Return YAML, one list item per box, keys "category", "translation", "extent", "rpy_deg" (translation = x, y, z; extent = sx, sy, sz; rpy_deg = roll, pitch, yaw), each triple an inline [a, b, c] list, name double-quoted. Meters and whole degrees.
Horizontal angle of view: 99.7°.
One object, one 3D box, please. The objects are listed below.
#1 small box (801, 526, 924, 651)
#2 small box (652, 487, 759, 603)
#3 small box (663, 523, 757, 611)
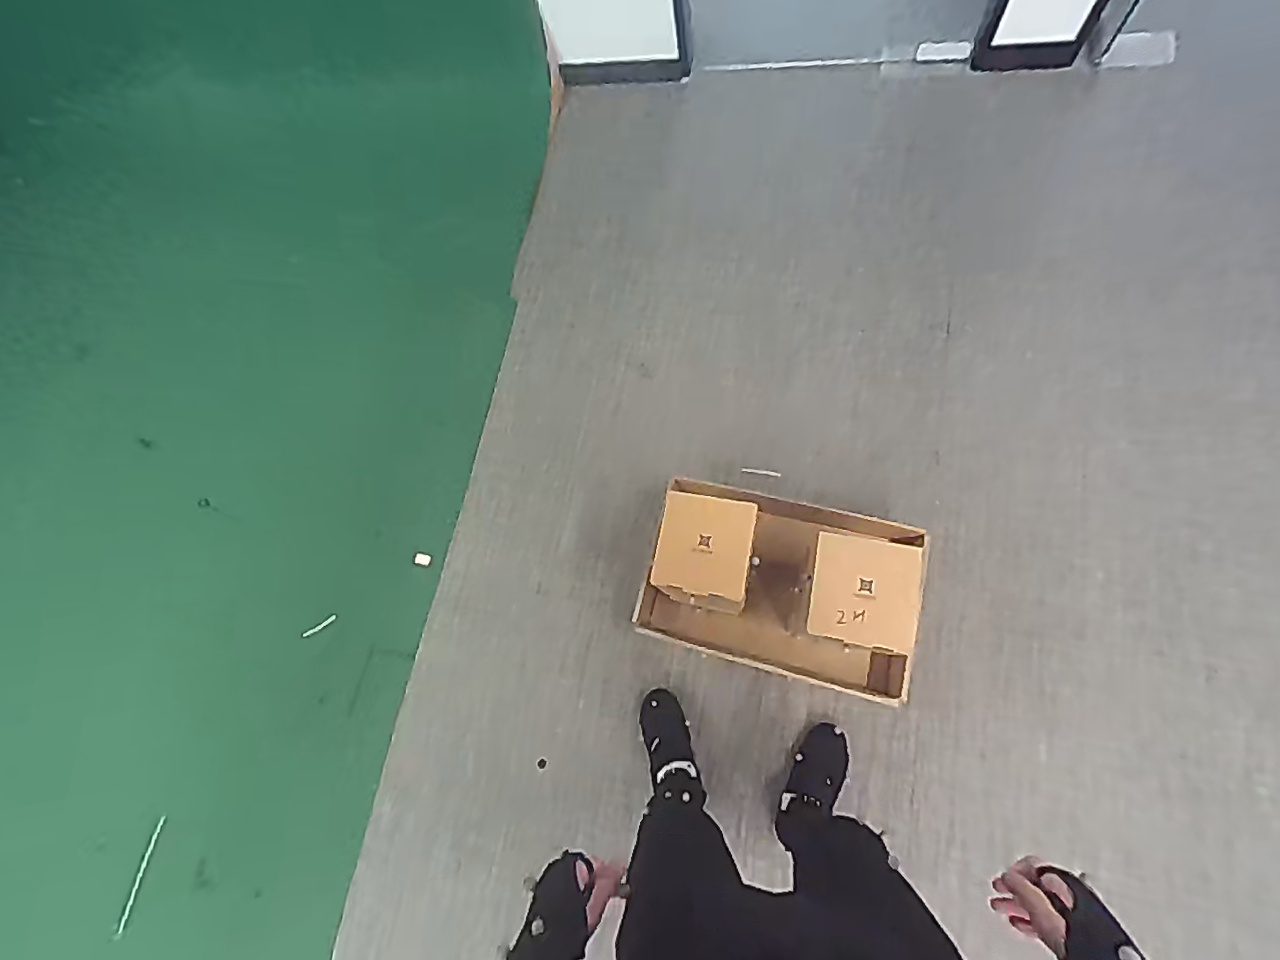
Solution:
- category: "small box"
  translation: [0.382, 0.195, 0.954]
  extent: [0.168, 0.176, 0.179]
  rpy_deg: [9, 76, 15]
- category: "small box"
  translation: [0.129, 0.129, 1.029]
  extent: [0.168, 0.176, 0.179]
  rpy_deg: [9, 76, 13]
- category: "small box"
  translation: [0.157, 0.177, 1.181]
  extent: [0.168, 0.176, 0.179]
  rpy_deg: [10, 74, 15]
